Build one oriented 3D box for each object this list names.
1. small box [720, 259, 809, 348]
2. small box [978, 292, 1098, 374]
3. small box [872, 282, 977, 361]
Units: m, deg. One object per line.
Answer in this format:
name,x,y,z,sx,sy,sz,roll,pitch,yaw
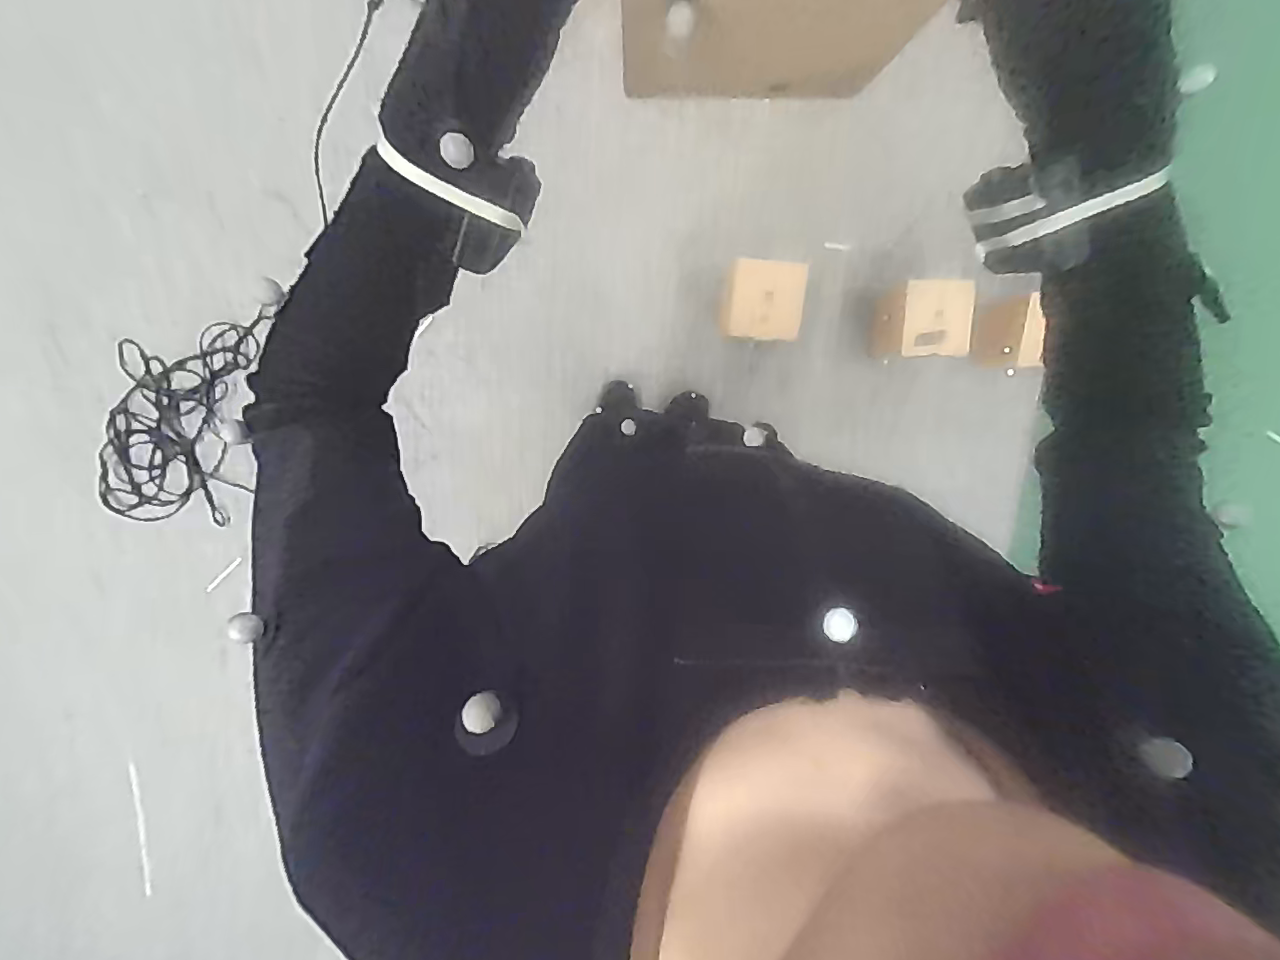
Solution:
small box,0.296,-0.423,1.321,0.168,0.176,0.179,5,100,-2
small box,0.987,-0.361,1.357,0.168,0.176,0.179,4,100,-2
small box,0.696,-0.387,1.342,0.168,0.176,0.179,0,99,-2
